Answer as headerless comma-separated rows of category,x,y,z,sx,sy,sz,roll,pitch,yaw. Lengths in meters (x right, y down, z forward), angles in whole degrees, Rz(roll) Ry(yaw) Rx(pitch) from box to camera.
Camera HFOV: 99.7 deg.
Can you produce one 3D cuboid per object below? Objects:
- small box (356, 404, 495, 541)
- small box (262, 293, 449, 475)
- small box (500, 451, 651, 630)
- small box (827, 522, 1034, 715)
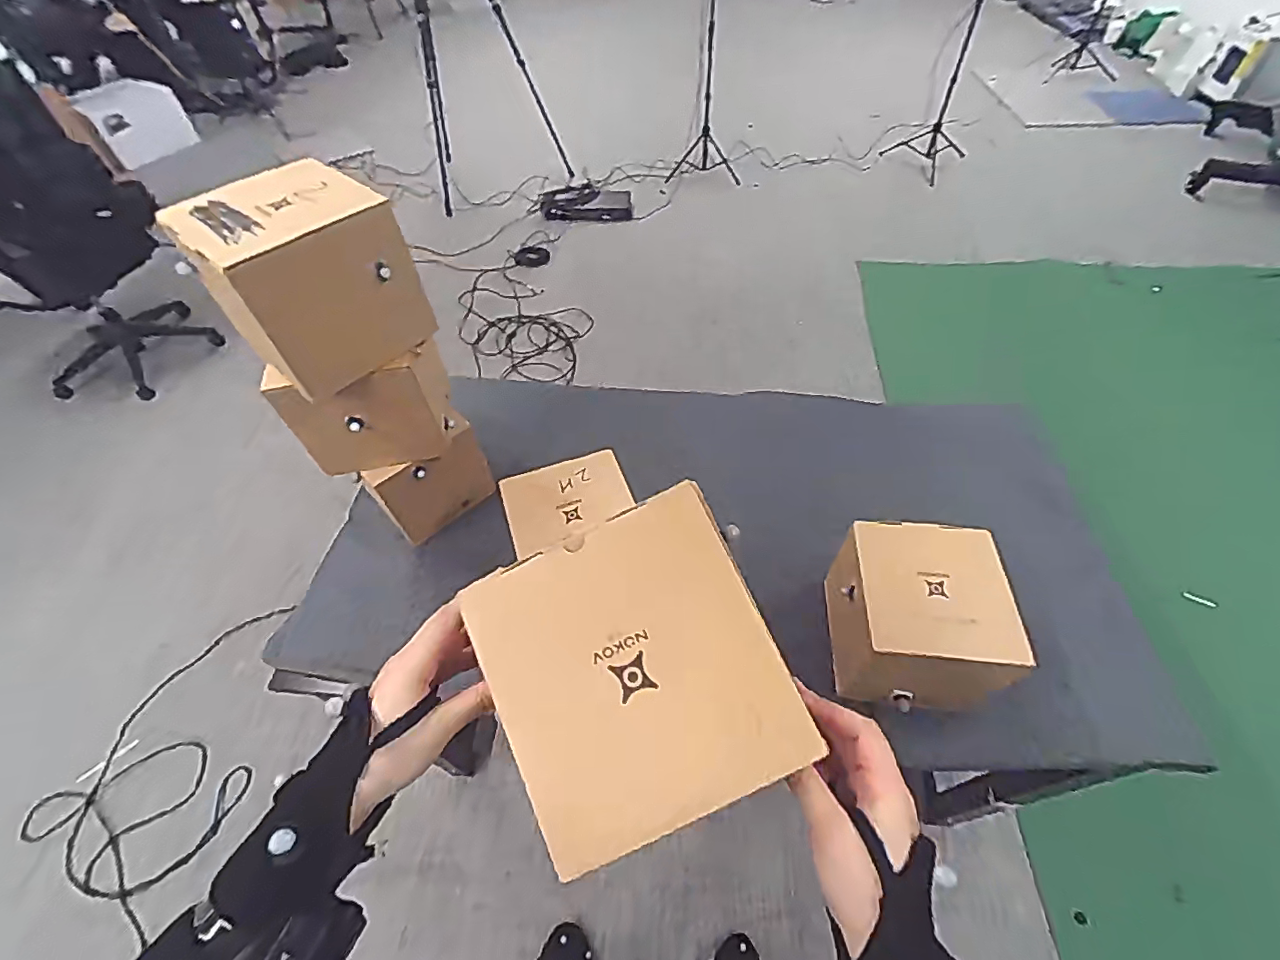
small box,-0.367,-0.032,0.886,0.168,0.176,0.179,-38,60,-24
small box,-0.374,-0.130,0.754,0.179,0.176,0.168,-12,53,-6
small box,-0.087,0.093,0.771,0.168,0.176,0.179,-16,52,-11
small box,0.343,0.176,0.684,0.168,0.176,0.179,3,51,7
